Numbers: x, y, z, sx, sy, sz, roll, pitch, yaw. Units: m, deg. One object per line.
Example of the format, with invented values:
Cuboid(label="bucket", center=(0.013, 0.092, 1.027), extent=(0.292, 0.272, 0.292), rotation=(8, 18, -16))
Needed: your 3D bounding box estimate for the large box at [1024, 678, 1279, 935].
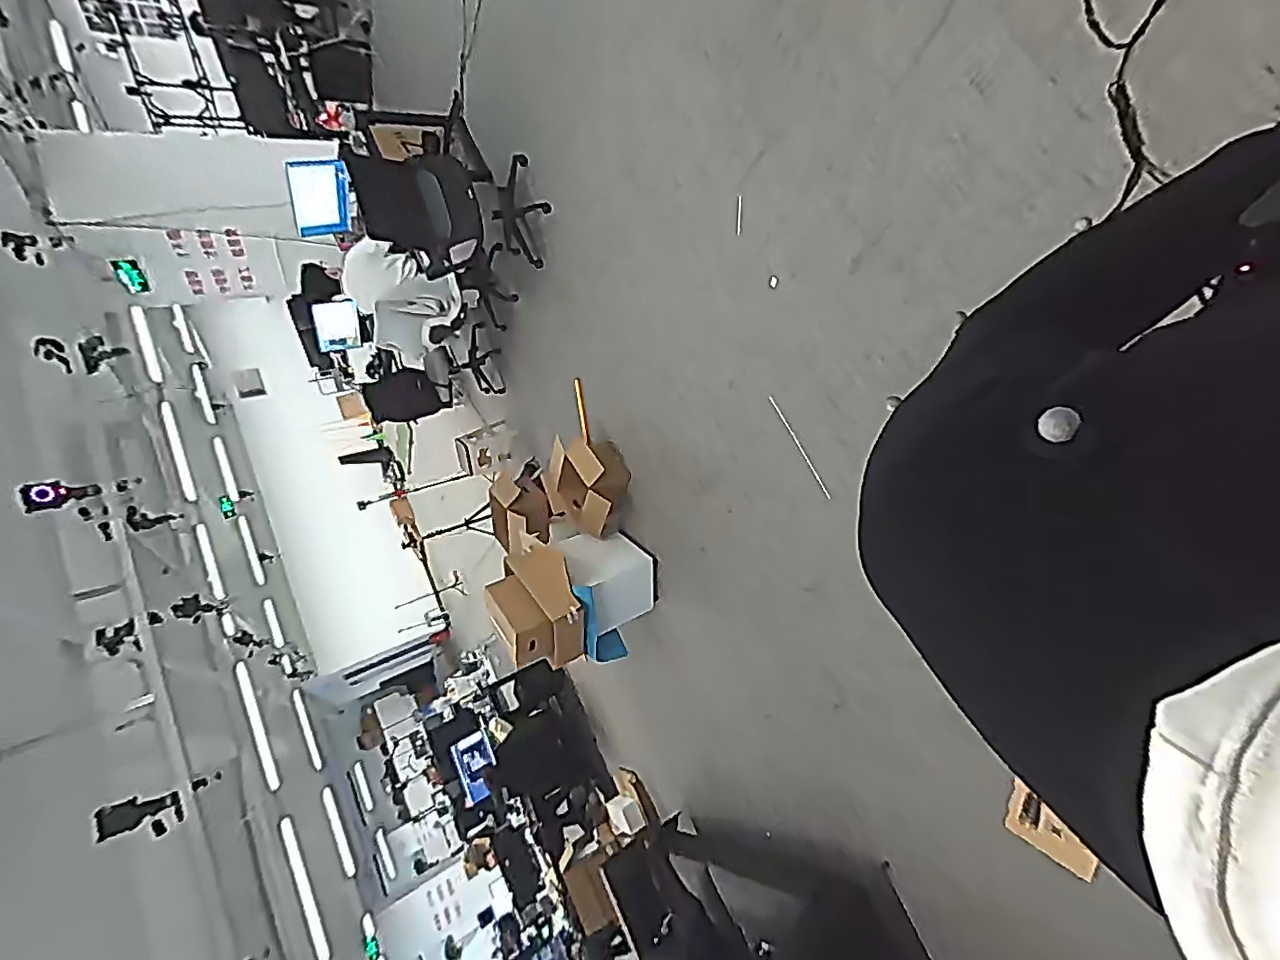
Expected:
Cuboid(label="large box", center=(1.254, 0.767, 1.354), extent=(0.408, 0.320, 0.320), rotation=(12, 118, 54))
